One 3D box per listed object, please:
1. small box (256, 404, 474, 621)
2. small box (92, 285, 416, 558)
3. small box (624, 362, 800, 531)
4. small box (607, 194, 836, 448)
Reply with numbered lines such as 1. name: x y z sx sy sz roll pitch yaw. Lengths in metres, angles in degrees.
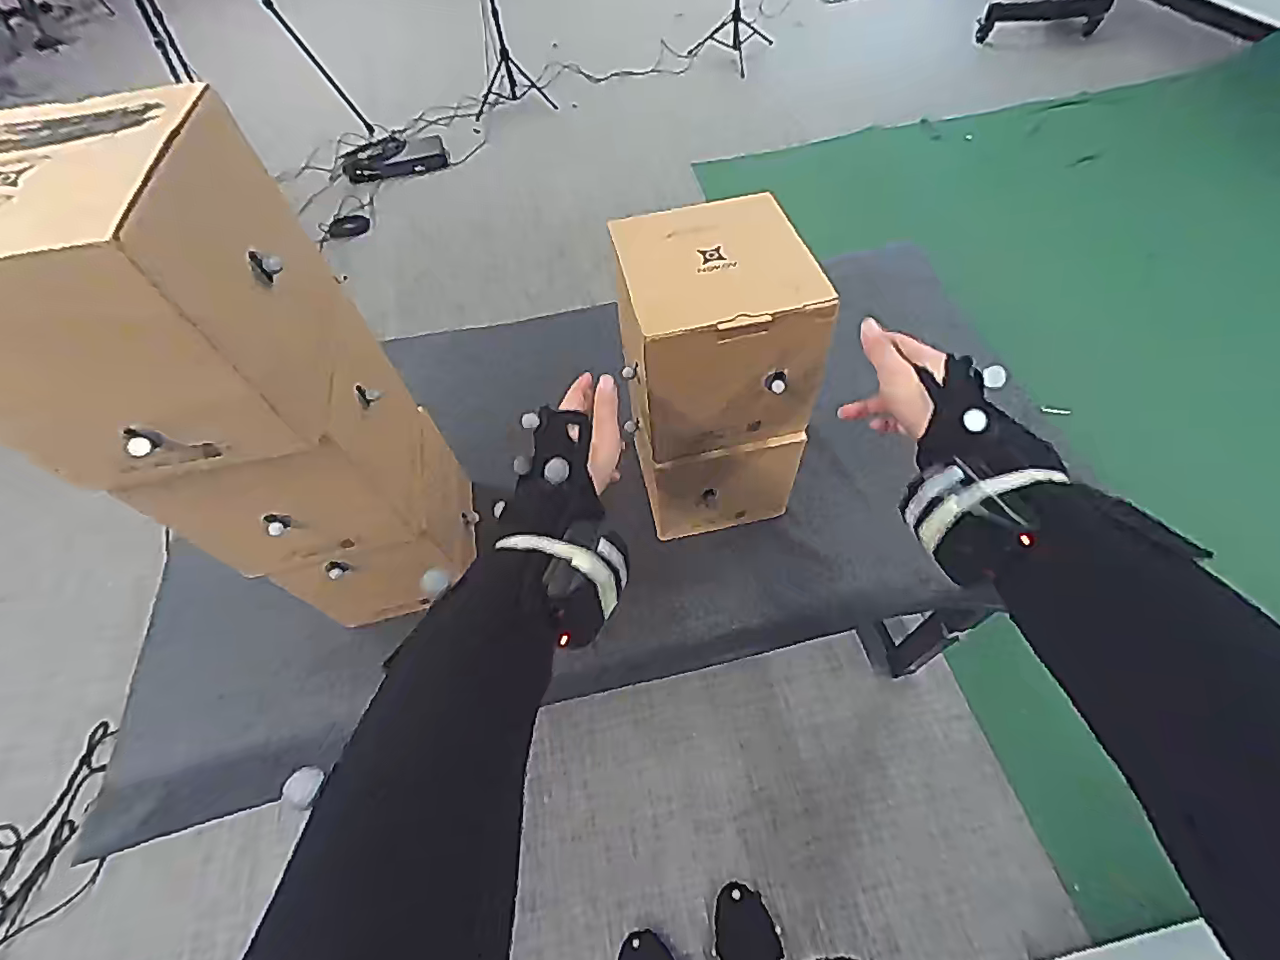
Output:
1. small box: -0.305 0.041 0.638 0.168 0.176 0.179 -13 56 -5
2. small box: -0.319 -0.043 0.496 0.168 0.176 0.179 -12 56 -5
3. small box: 0.082 -0.051 0.671 0.168 0.176 0.179 -11 56 -3
4. small box: 0.069 -0.149 0.542 0.168 0.176 0.179 -12 55 -4
